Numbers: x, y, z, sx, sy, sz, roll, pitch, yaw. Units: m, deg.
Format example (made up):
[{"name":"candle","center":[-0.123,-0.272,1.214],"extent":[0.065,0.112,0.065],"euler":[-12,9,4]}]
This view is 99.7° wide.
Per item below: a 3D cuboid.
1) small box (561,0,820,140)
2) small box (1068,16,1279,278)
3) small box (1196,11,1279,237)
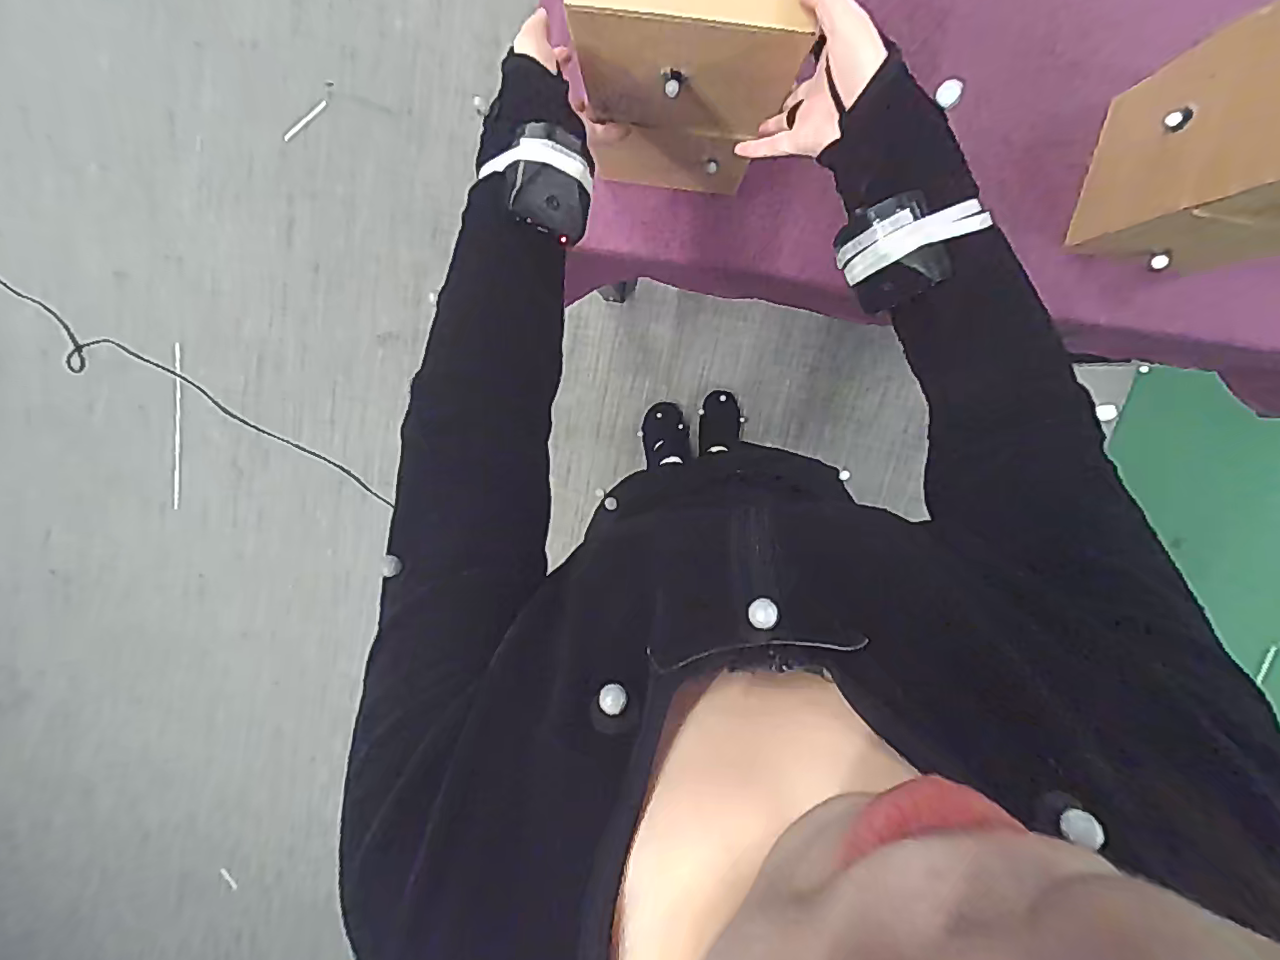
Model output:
[{"name":"small box","center":[0.044,-0.397,0.430],"extent":[0.179,0.176,0.168],"euler":[7,101,1]},{"name":"small box","center":[0.618,-0.335,0.582],"extent":[0.168,0.176,0.179],"euler":[12,102,1]},{"name":"small box","center":[0.614,-0.304,0.422],"extent":[0.168,0.176,0.179],"euler":[12,102,0]}]
